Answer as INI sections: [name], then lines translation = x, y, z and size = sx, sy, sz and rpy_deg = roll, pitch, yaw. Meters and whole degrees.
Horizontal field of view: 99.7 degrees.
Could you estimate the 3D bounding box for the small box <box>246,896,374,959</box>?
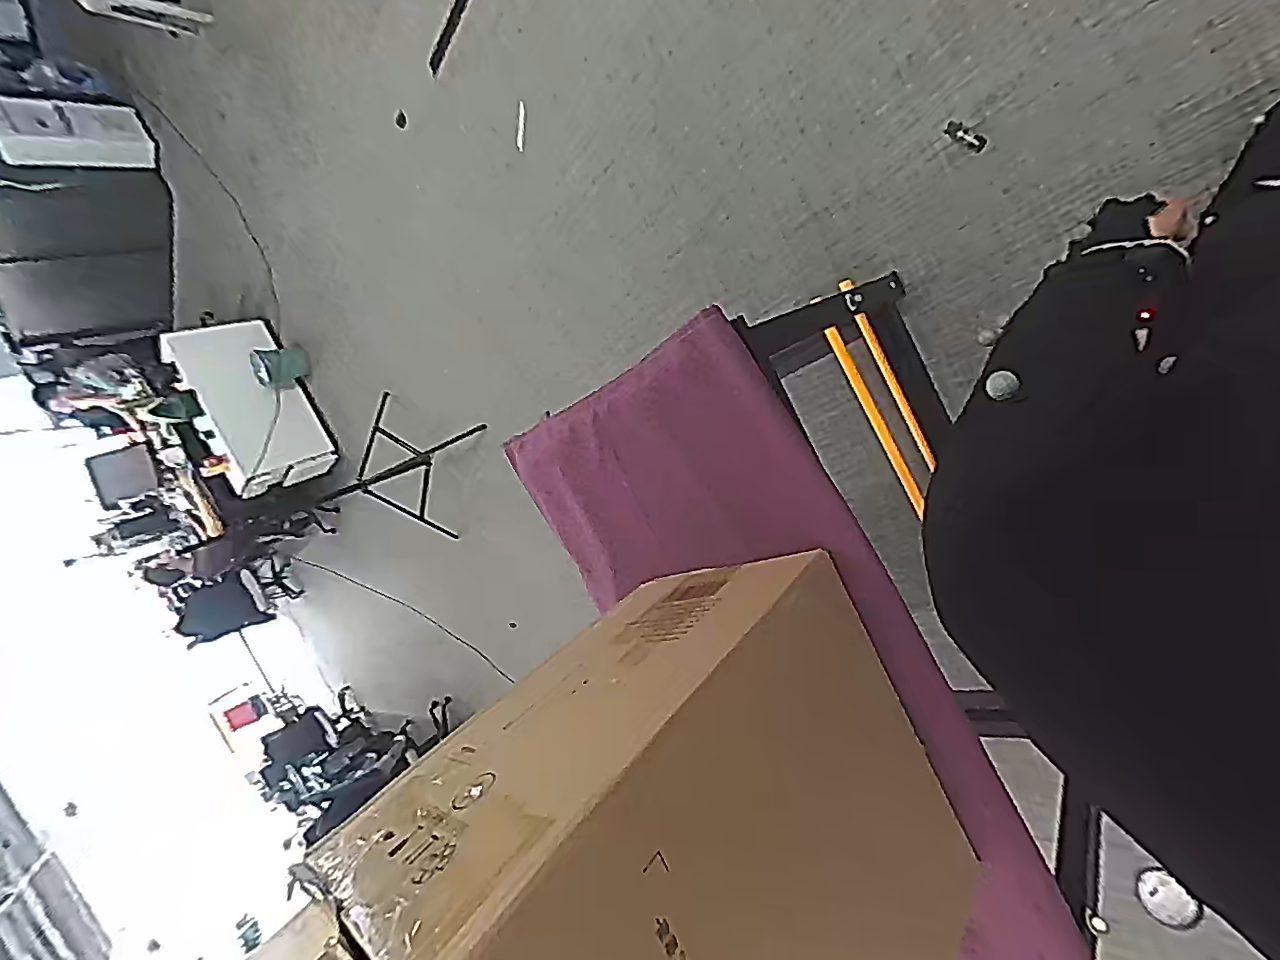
[small box]
translation = -0.315, 0.534, 0.493
size = 0.168, 0.176, 0.179
rpy_deg = -30, 92, 47
